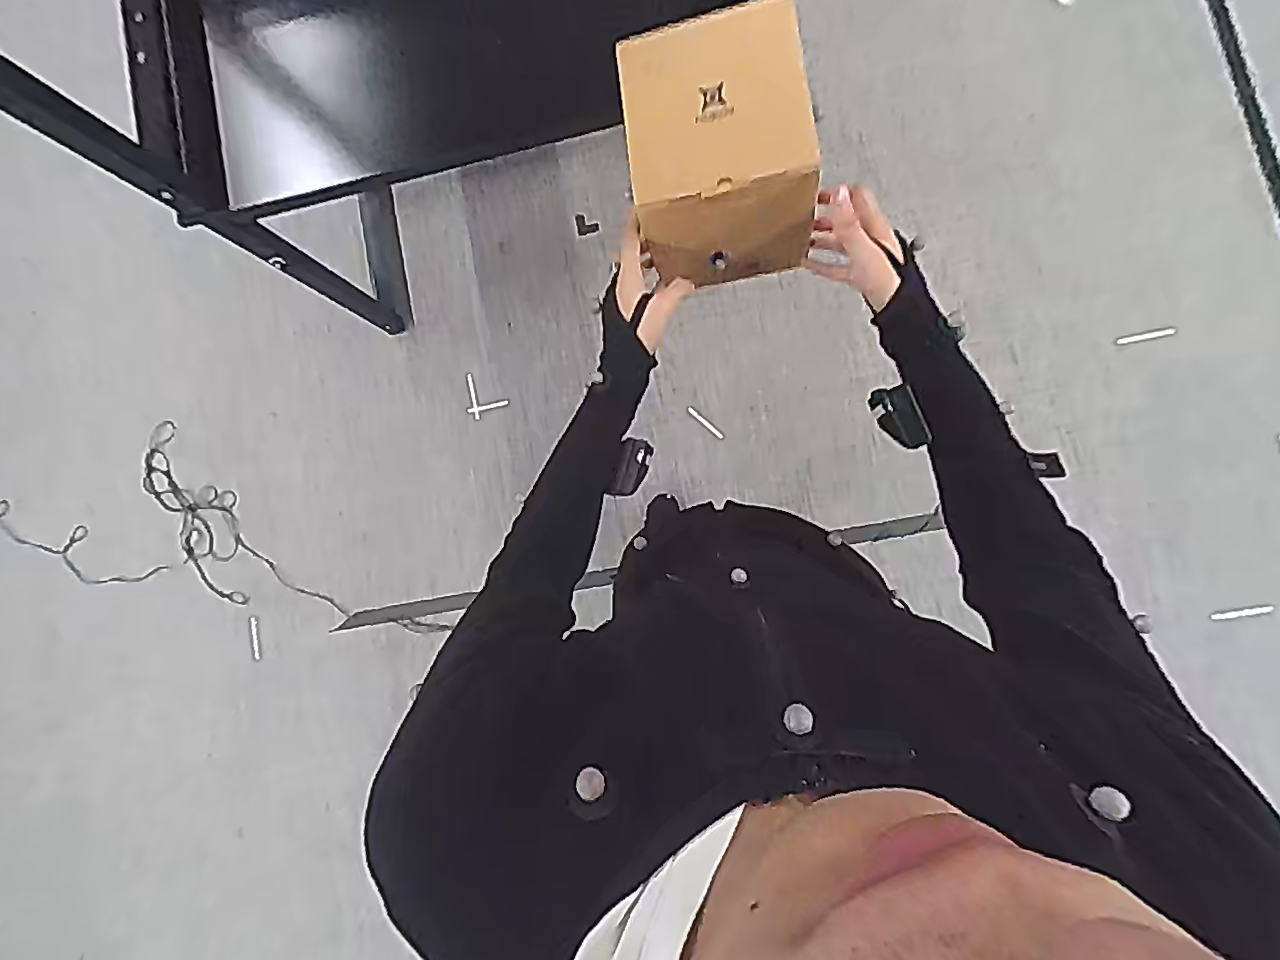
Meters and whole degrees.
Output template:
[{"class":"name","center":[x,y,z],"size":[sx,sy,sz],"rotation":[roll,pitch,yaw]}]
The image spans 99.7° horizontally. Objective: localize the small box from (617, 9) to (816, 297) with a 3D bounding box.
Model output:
[{"class":"small box","center":[0.080,-0.323,0.570],"size":[0.168,0.176,0.179],"rotation":[-9,80,11]}]
